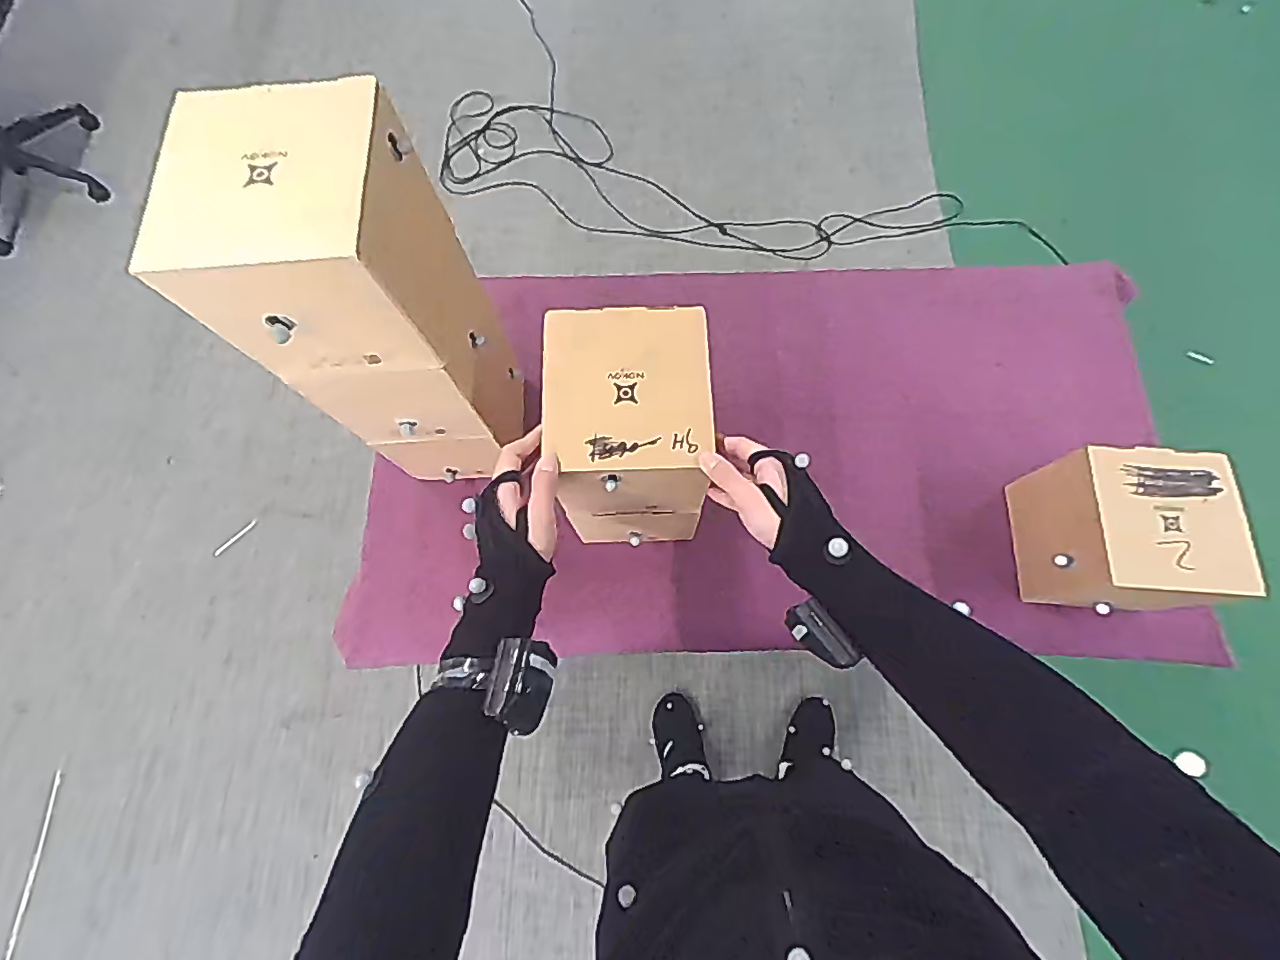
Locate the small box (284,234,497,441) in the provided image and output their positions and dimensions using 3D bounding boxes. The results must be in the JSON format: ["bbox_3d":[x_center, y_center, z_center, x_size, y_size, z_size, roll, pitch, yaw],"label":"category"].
[{"bbox_3d":[-0.275,-0.159,0.640,0.168,0.176,0.179,-3,73,1],"label":"small box"}]

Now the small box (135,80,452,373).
[{"bbox_3d":[-0.281,-0.207,0.485,0.168,0.176,0.179,-4,72,1],"label":"small box"}]

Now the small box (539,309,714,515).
[{"bbox_3d":[-0.012,-0.067,0.601,0.168,0.176,0.179,-2,72,1],"label":"small box"}]

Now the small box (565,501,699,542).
[{"bbox_3d":[-0.009,-0.015,0.758,0.168,0.176,0.179,-1,73,1],"label":"small box"}]

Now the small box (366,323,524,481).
[{"bbox_3d":[-0.272,-0.108,0.795,0.168,0.176,0.179,-3,73,1],"label":"small box"}]
